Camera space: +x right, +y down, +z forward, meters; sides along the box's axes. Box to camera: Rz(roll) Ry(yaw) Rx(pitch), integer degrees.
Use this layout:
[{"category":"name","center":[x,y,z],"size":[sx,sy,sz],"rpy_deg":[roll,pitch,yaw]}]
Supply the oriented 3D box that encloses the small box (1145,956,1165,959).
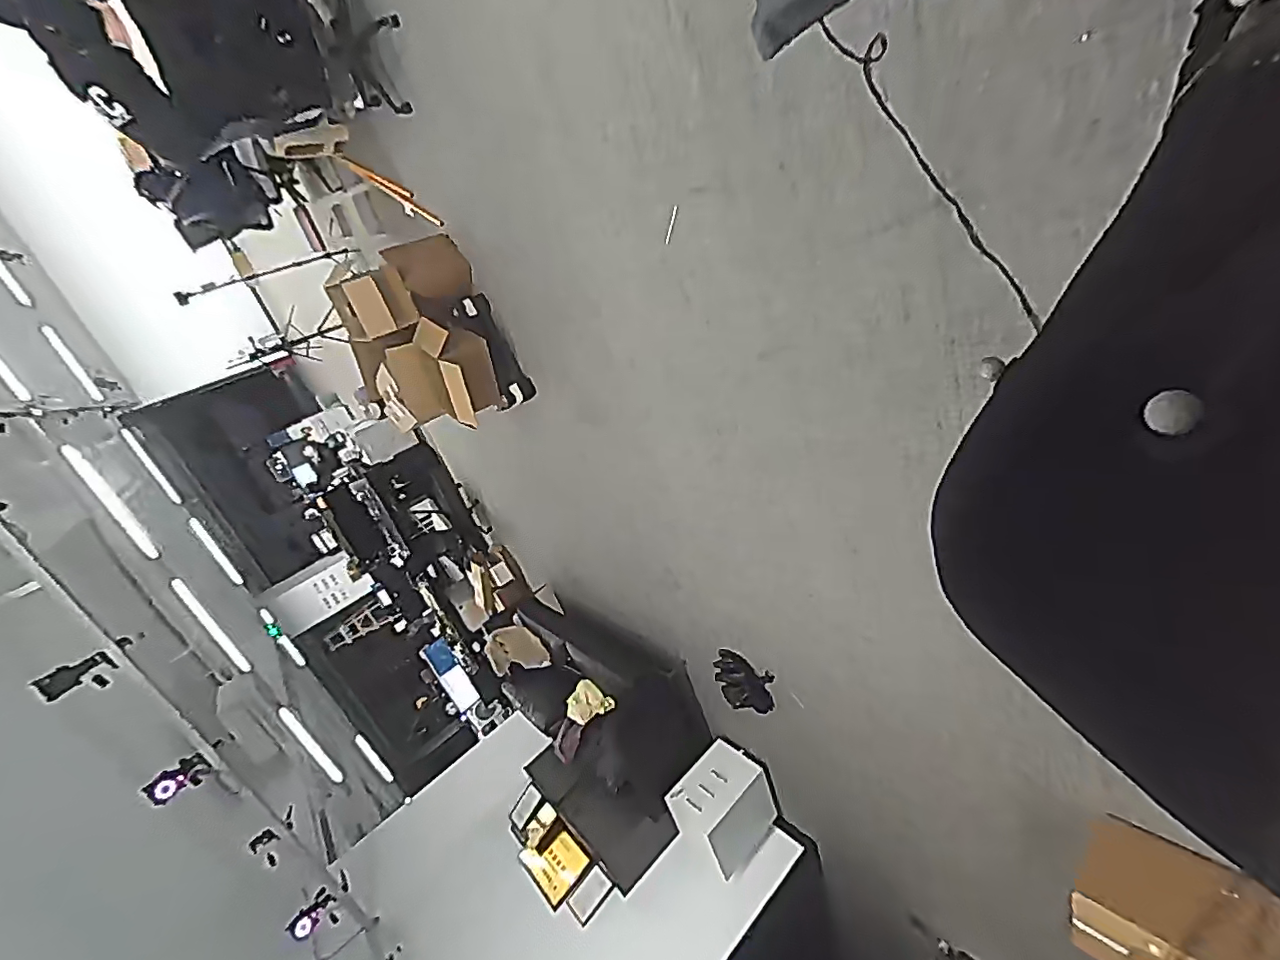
[{"category":"small box","center":[1.447,1.444,1.455],"size":[0.179,0.176,0.168],"rpy_deg":[18,130,48]}]
